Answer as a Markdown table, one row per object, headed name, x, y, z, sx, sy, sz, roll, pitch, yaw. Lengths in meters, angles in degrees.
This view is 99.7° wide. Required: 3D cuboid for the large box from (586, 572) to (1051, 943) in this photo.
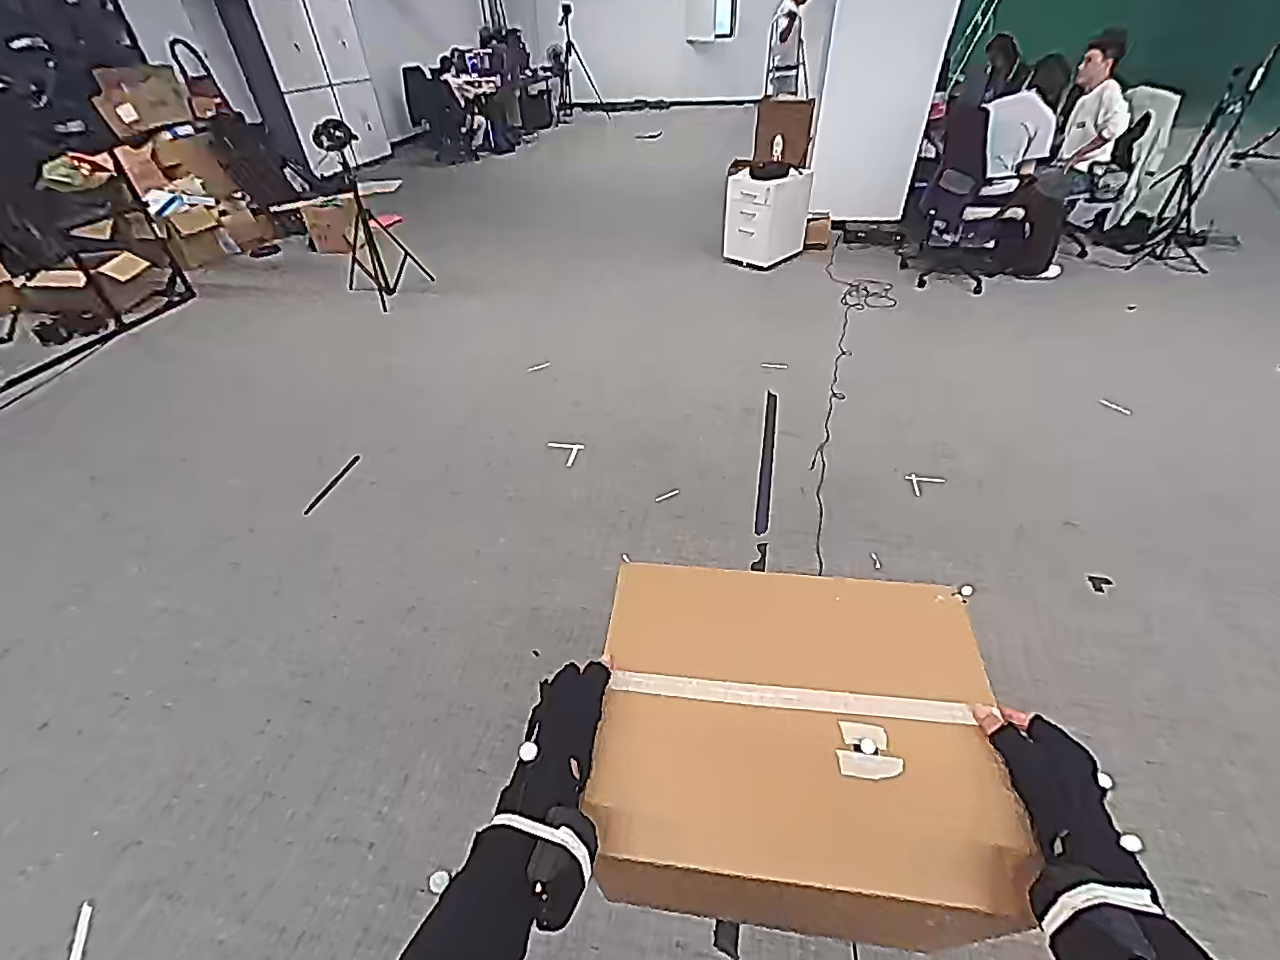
| name | x | y | z | sx | sy | sz | roll | pitch | yaw |
| --- | --- | --- | --- | --- | --- | --- | --- | --- | --- |
| large box | 0.168 | 0.339 | 0.675 | 0.408 | 0.320 | 0.320 | 3 | 46 | 7 |
